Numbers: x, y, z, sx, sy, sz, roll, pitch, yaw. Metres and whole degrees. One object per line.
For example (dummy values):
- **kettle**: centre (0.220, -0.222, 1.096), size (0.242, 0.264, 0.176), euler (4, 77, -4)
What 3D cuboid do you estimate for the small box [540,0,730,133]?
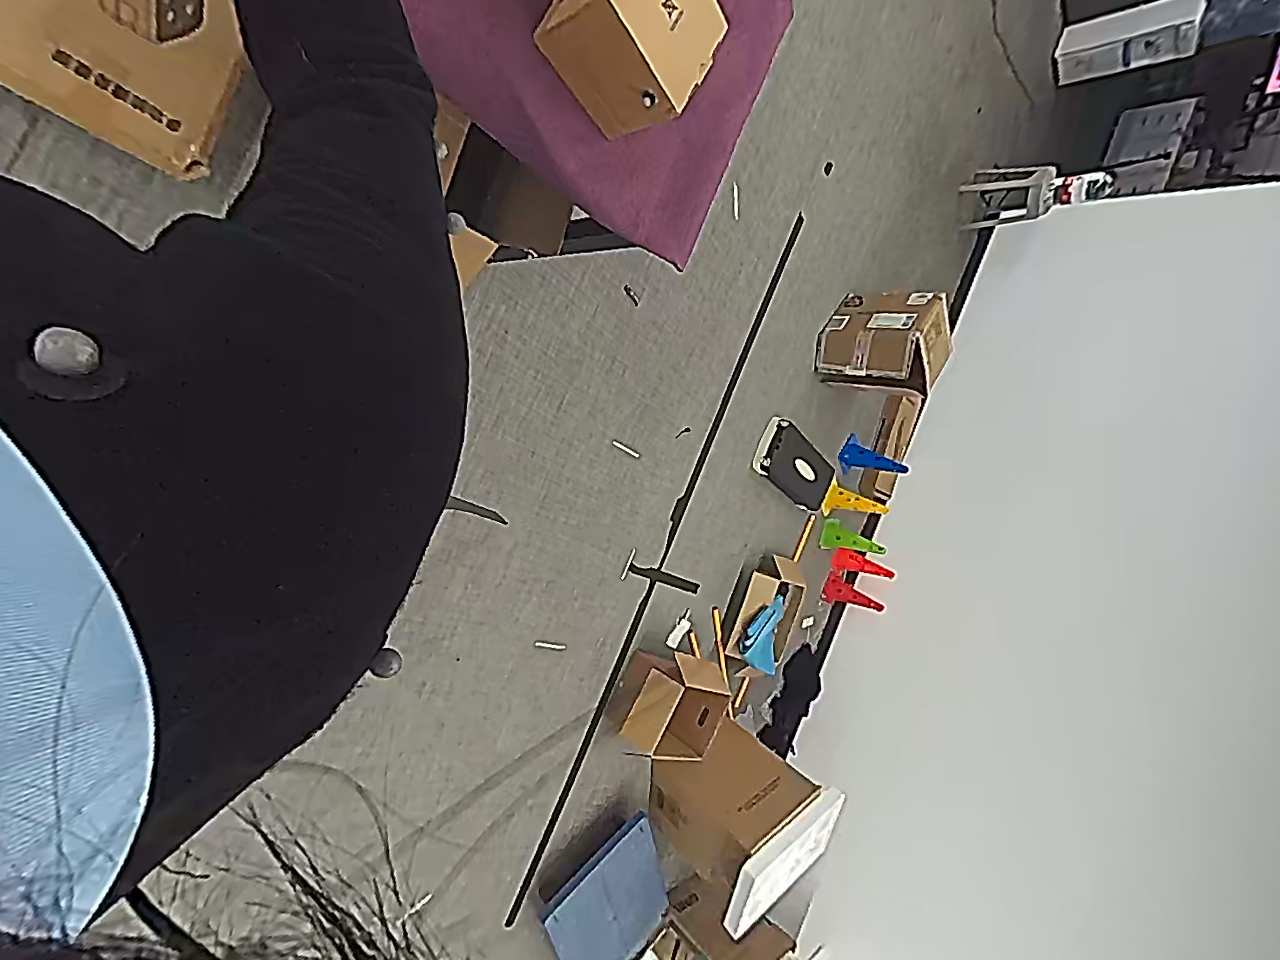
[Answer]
- **small box**: centre (-0.009, -0.639, 0.771), size (0.179, 0.176, 0.168), euler (34, 79, -45)
